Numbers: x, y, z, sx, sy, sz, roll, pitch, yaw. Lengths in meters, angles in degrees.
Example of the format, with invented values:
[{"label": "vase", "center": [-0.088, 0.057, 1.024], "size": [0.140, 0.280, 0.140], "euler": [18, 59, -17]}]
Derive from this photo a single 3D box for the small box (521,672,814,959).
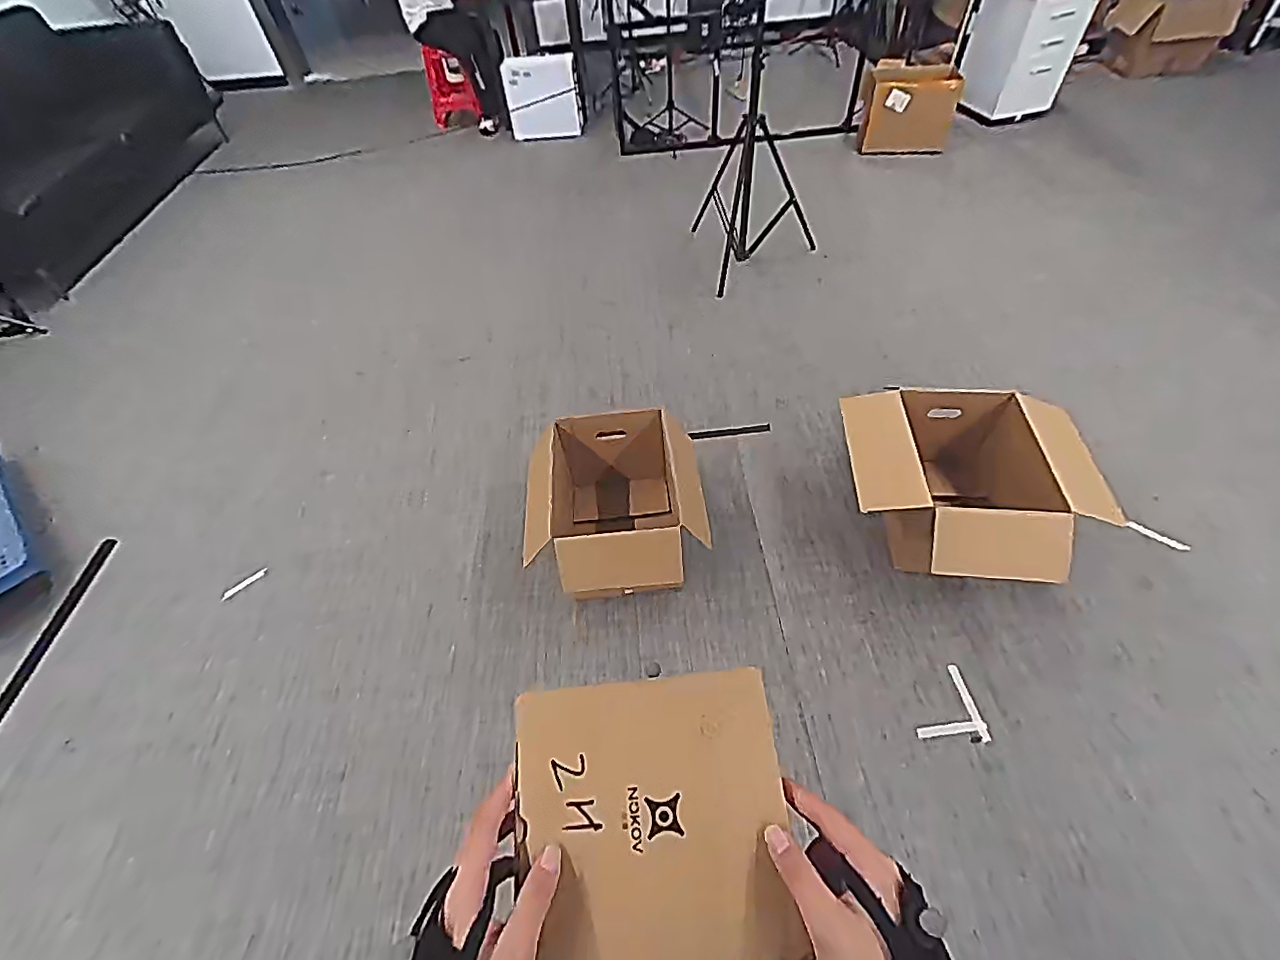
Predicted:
[{"label": "small box", "center": [0.012, 0.249, 0.421], "size": [0.179, 0.176, 0.168], "euler": [-6, 65, 0]}]
